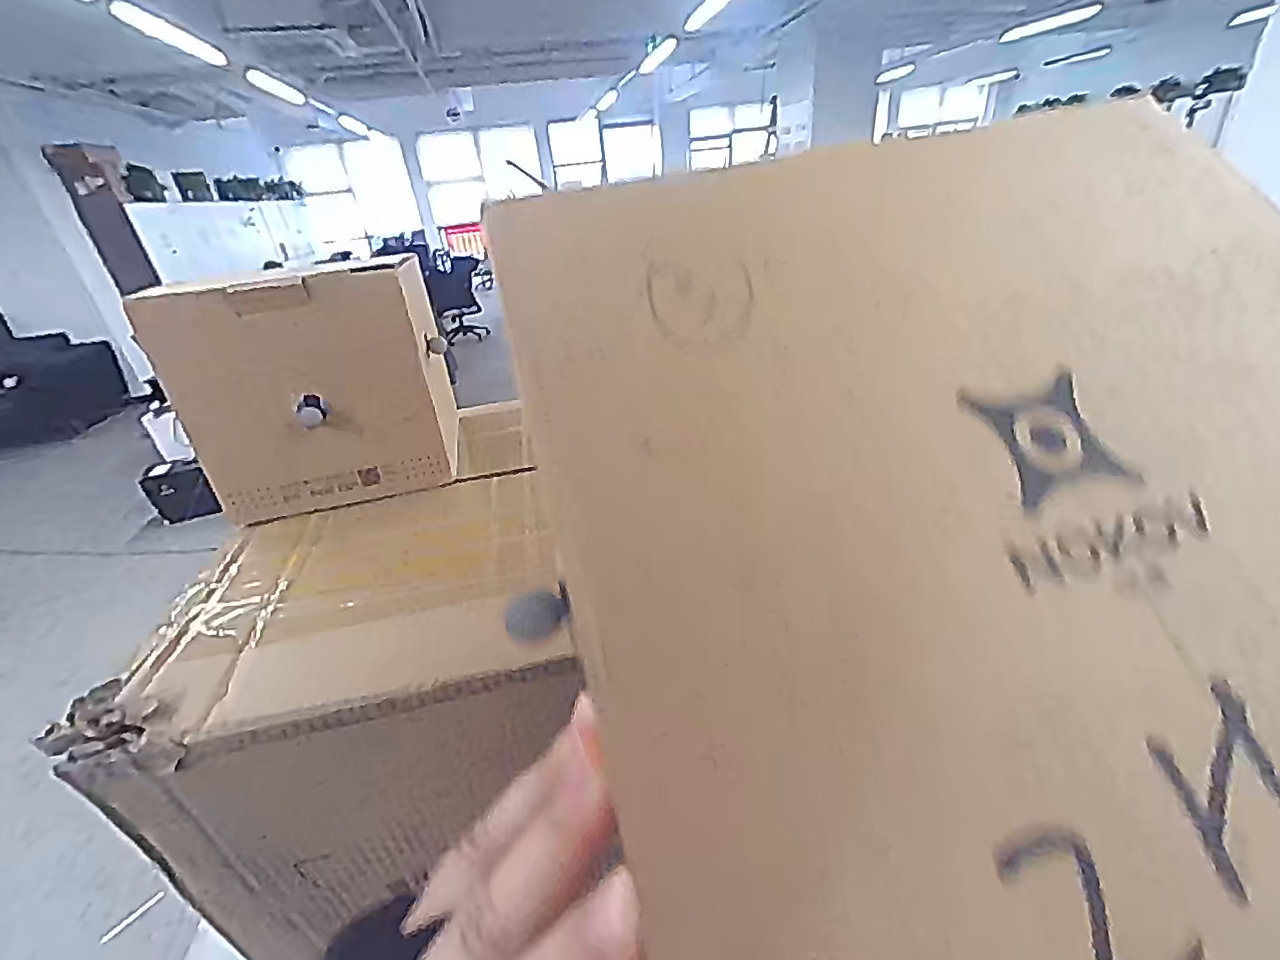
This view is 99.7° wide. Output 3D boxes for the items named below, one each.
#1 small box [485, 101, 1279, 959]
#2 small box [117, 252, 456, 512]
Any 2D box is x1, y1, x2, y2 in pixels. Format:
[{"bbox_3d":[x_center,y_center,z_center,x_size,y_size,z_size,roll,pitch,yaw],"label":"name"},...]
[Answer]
[{"bbox_3d":[0.064,0.036,0.158,0.168,0.176,0.179,-14,69,-8],"label":"small box"},{"bbox_3d":[-0.258,-0.086,0.454,0.168,0.176,0.179,-13,28,-12],"label":"small box"}]
